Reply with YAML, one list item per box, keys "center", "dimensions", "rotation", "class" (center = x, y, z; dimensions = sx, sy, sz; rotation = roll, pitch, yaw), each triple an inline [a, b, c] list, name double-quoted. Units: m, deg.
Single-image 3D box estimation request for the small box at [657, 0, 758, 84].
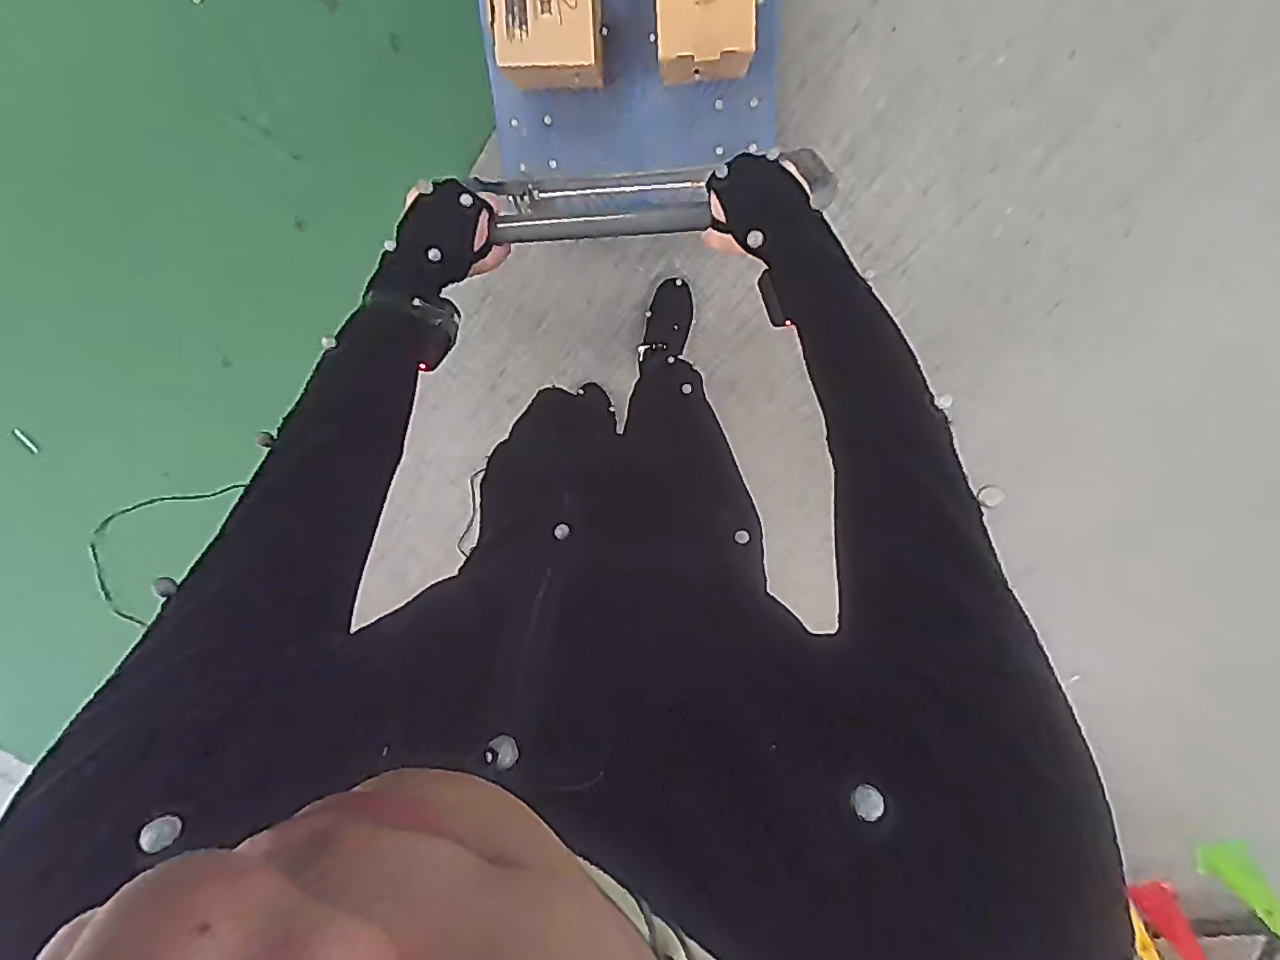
- center: [0.114, -0.834, 0.960]
  dimensions: [0.168, 0.176, 0.179]
  rotation: [-3, 116, 4]
  class: "small box"
